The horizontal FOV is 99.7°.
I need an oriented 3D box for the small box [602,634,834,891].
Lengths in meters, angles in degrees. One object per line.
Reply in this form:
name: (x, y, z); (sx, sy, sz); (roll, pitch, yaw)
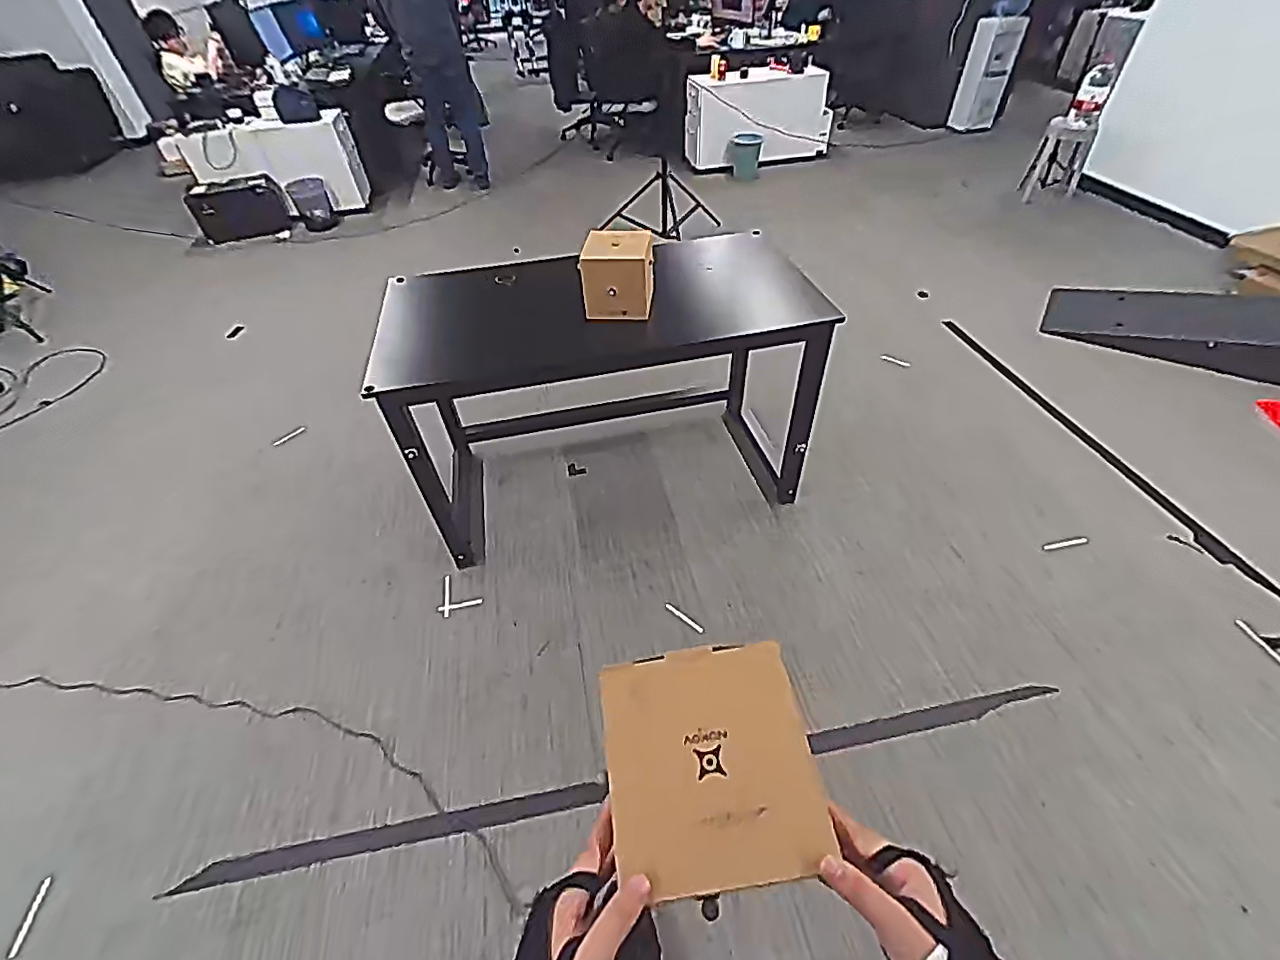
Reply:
small box: (0.058, 0.270, 0.513); (0.168, 0.176, 0.179); (-8, 53, -2)

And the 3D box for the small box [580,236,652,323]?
small box: (-0.057, -0.536, 1.451); (0.168, 0.176, 0.179); (3, 45, 6)
